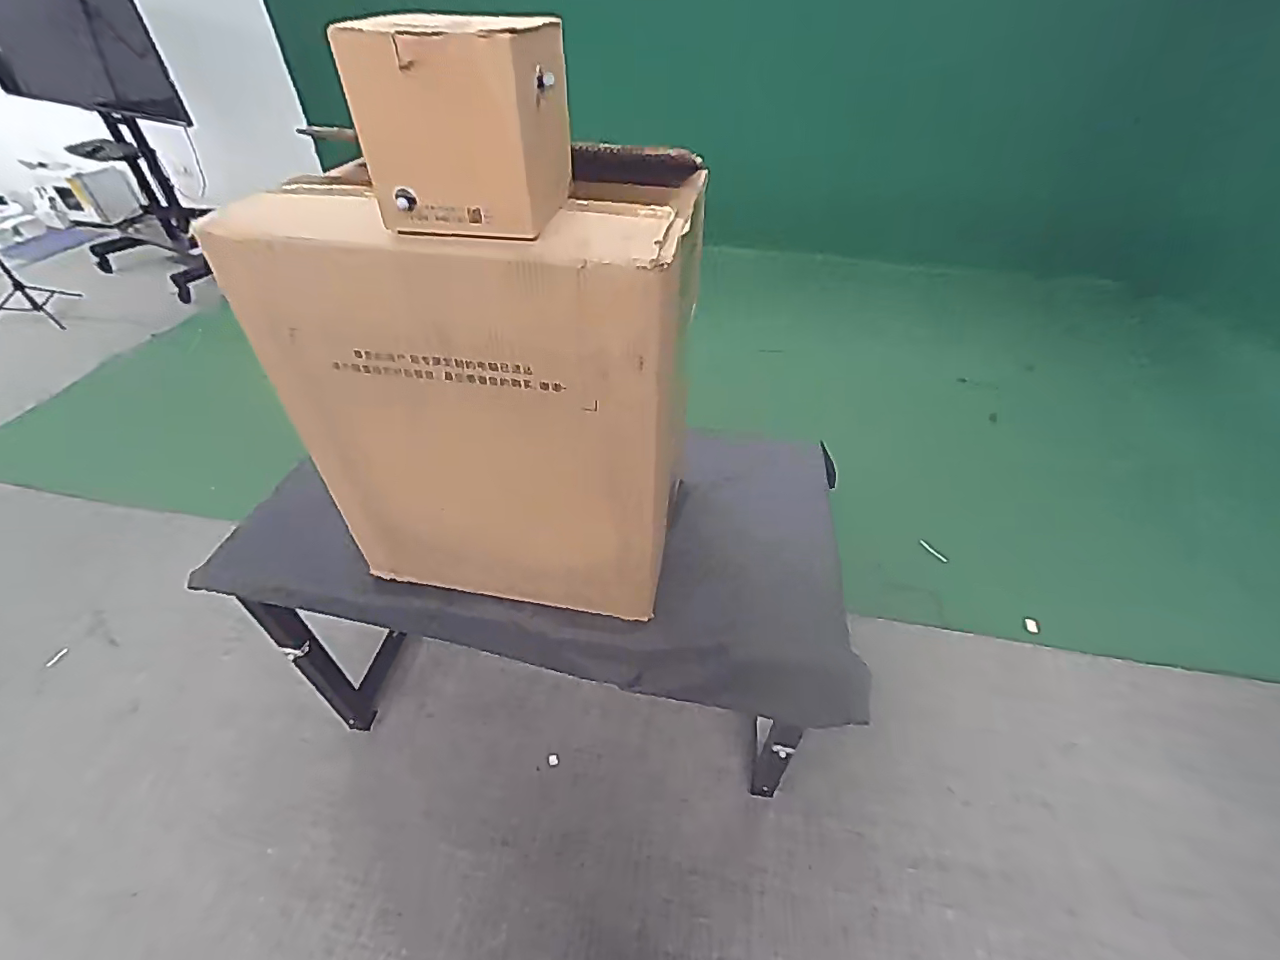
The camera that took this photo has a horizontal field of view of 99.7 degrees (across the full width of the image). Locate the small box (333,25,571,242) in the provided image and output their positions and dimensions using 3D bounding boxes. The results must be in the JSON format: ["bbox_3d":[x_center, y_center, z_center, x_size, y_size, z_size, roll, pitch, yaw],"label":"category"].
[{"bbox_3d":[-0.174,-0.367,0.573,0.168,0.176,0.179,6,43,6],"label":"small box"}]
